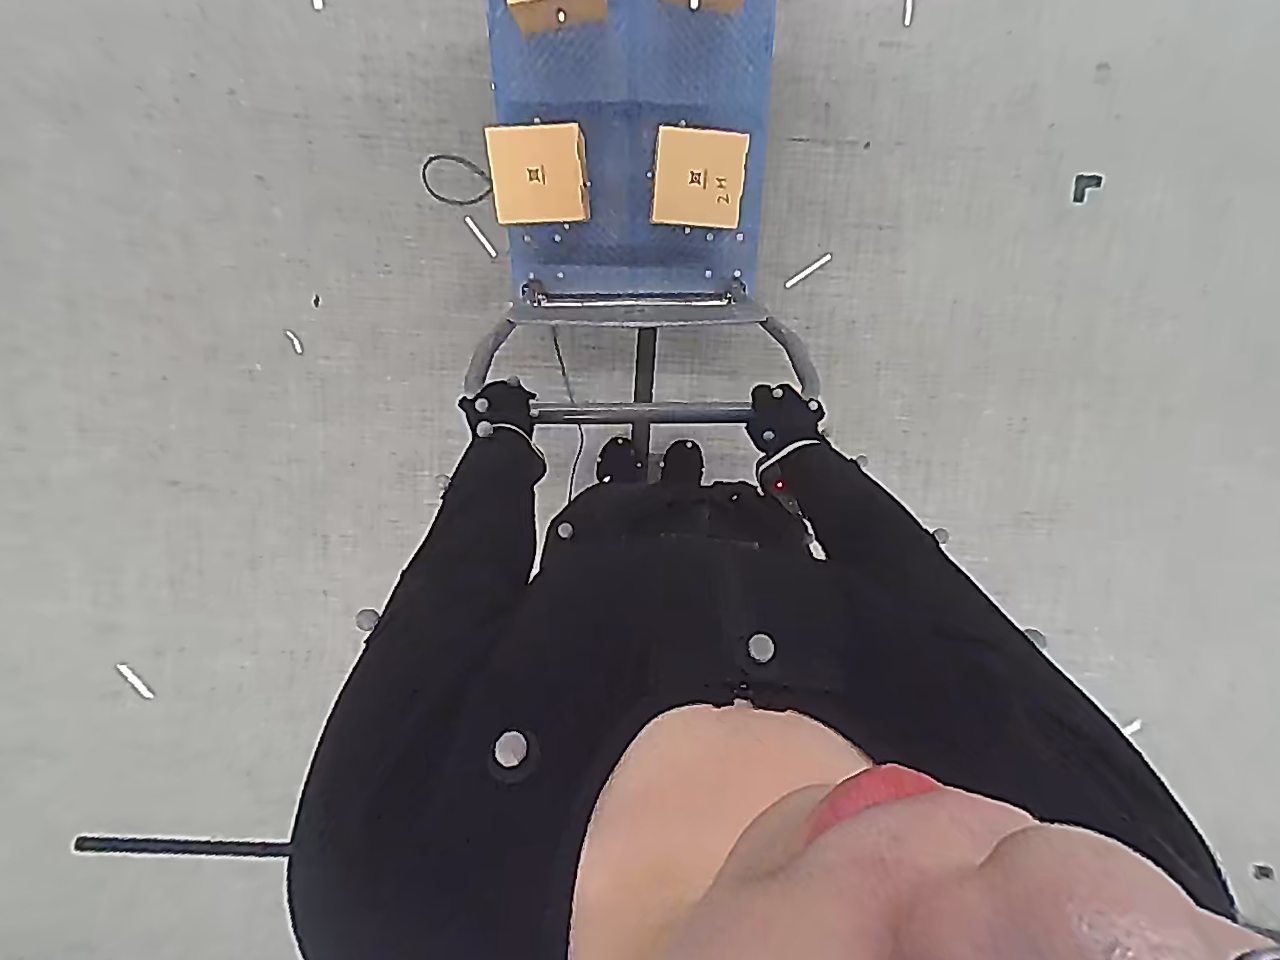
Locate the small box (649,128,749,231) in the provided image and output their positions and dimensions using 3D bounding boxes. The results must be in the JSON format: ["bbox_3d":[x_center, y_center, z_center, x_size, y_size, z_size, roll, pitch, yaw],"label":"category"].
[{"bbox_3d":[0.112,-0.616,1.124,0.179,0.176,0.168,4,115,-3],"label":"small box"}]

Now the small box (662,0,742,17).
[{"bbox_3d":[0.125,-0.975,0.959,0.168,0.176,0.179,9,115,-5],"label":"small box"}]

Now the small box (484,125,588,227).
[{"bbox_3d":[-0.205,-0.619,1.116,0.179,0.176,0.168,-4,115,-1],"label":"small box"}]
